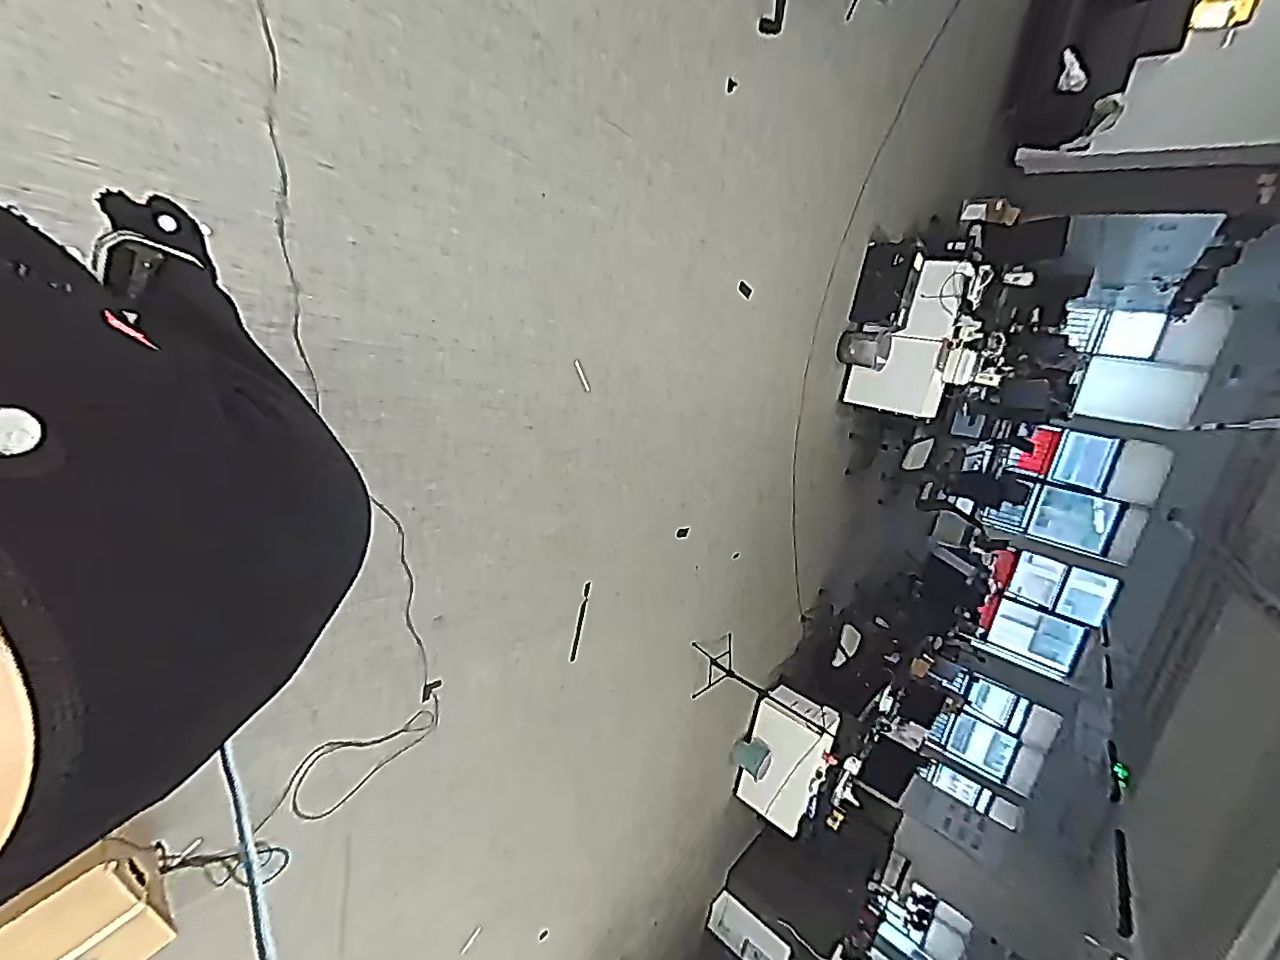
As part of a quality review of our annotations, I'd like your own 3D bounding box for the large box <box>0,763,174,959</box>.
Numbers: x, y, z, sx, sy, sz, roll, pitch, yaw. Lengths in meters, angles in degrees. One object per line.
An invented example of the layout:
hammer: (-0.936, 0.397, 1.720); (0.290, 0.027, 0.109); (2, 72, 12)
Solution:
large box: (-1.297, 0.899, 1.105); (0.408, 0.320, 0.320); (-32, 130, -40)
